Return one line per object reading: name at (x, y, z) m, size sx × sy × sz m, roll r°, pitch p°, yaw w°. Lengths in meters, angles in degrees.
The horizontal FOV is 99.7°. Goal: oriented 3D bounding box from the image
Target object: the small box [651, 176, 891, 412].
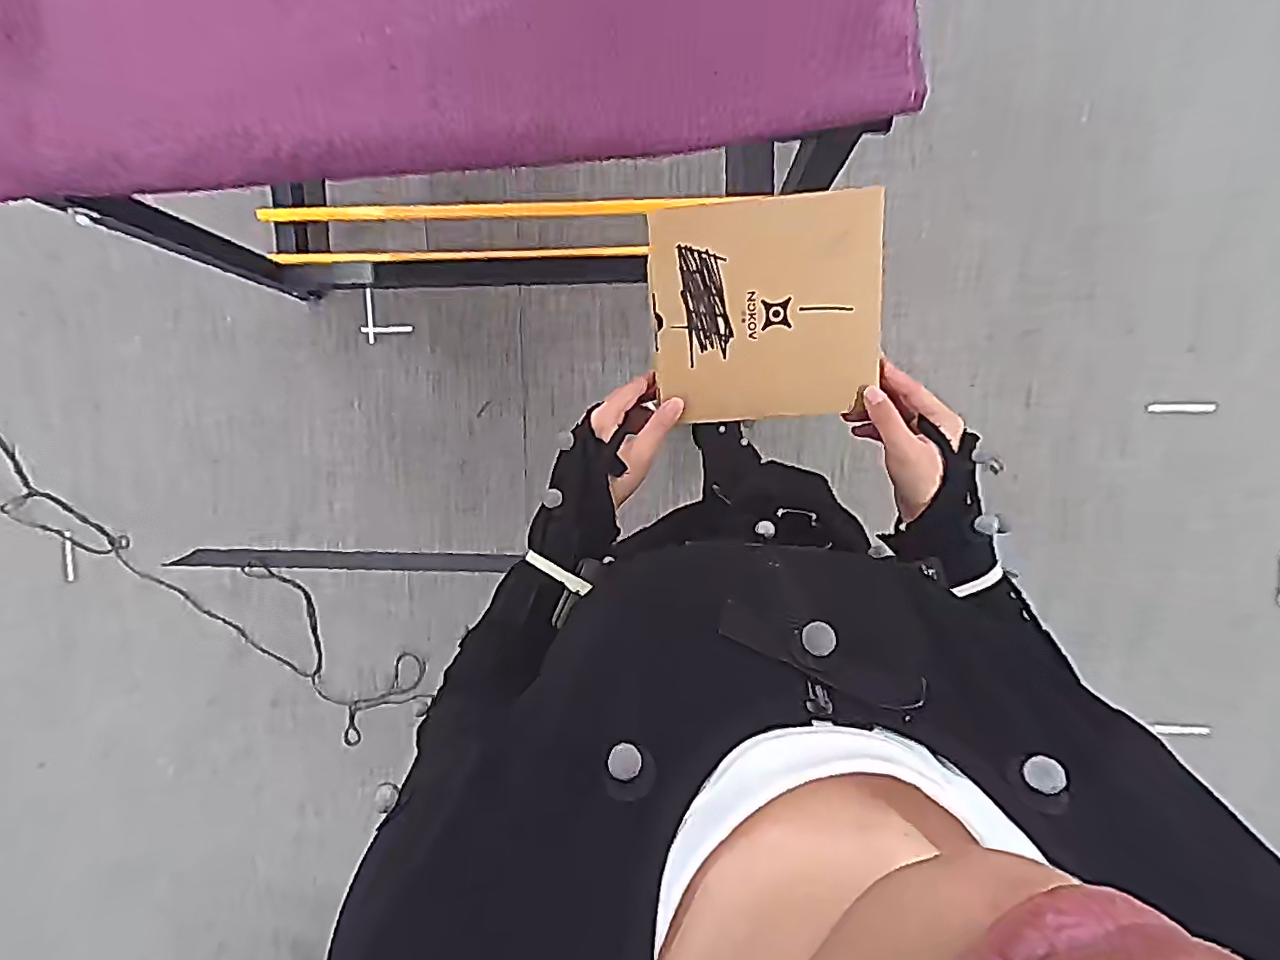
small box at (0.110, -0.155, 0.493) m, size 0.179 × 0.176 × 0.168 m, roll -2°, pitch 104°, yaw 8°
